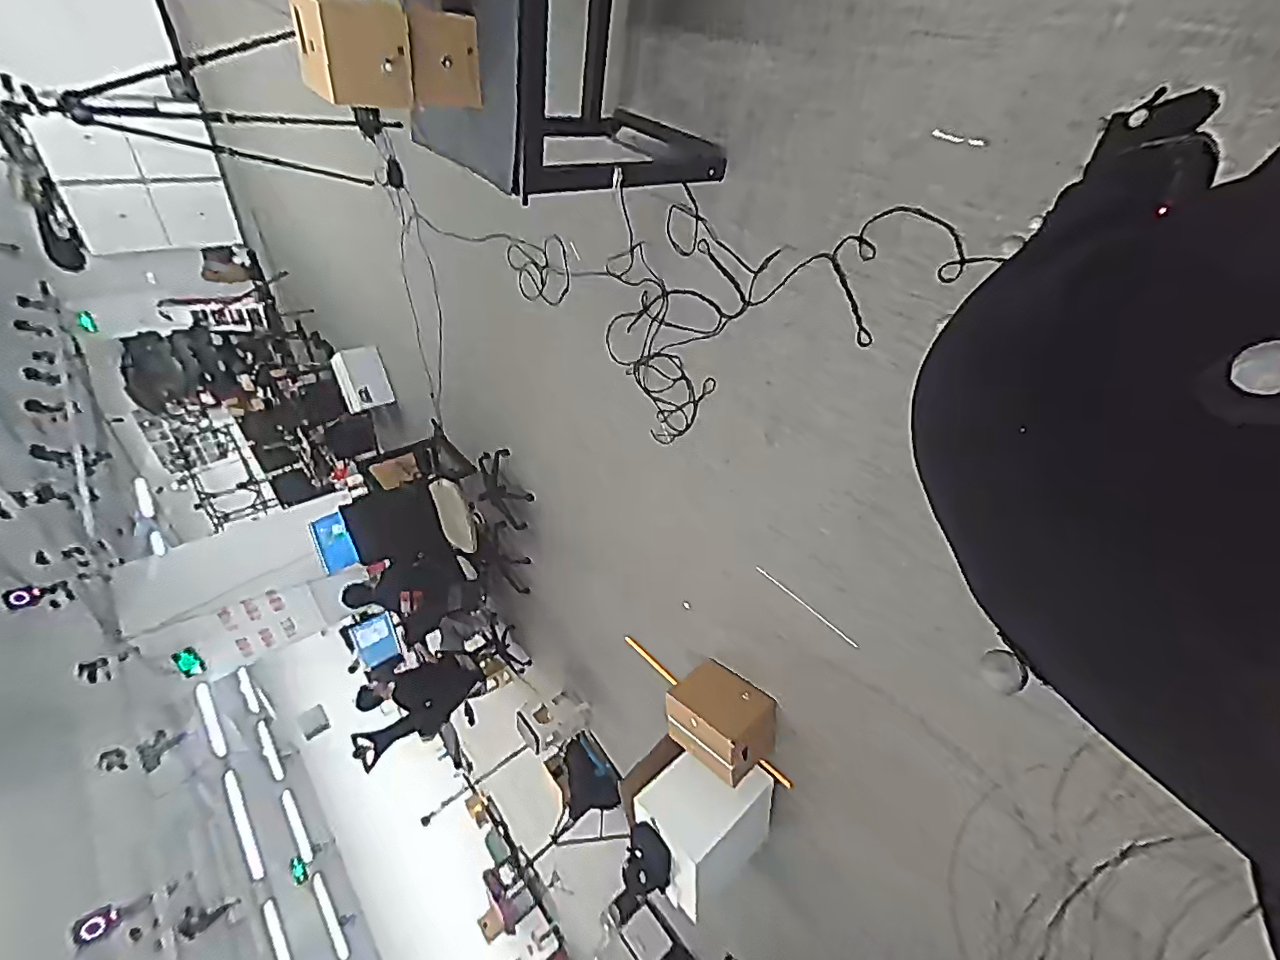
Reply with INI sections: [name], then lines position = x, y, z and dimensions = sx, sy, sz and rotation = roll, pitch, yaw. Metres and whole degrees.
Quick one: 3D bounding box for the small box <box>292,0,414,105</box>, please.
[small box]
position = -0.589, -0.895, 1.119
dimensions = 0.179, 0.176, 0.168
rotation = 43, 139, 27
